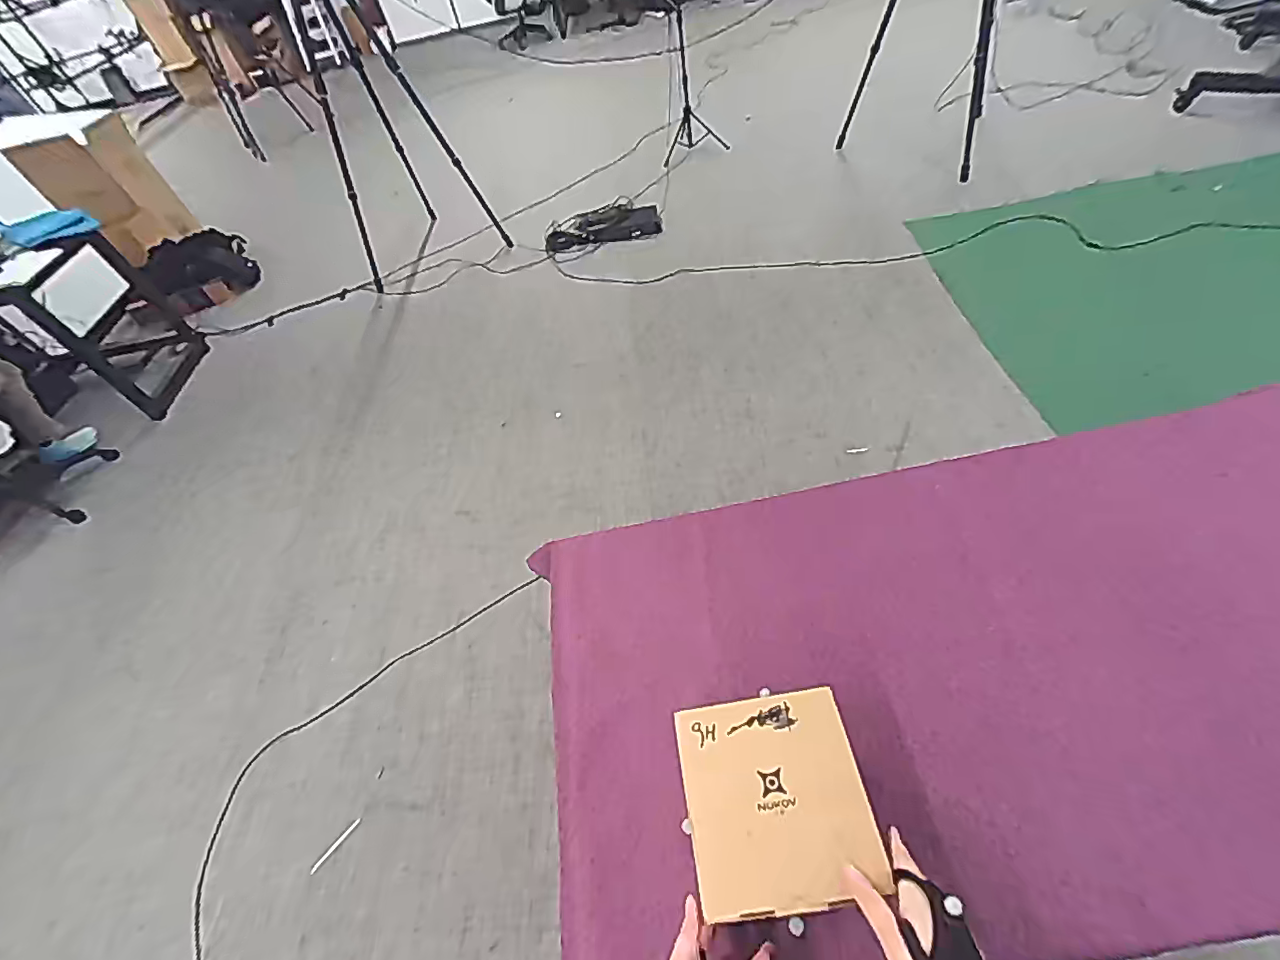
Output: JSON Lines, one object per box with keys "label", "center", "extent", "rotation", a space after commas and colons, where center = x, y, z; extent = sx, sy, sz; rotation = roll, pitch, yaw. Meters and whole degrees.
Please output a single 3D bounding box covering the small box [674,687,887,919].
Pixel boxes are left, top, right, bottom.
{"label": "small box", "center": [0.135, 0.340, 0.570], "extent": [0.168, 0.176, 0.179], "rotation": [-9, 52, 3]}
